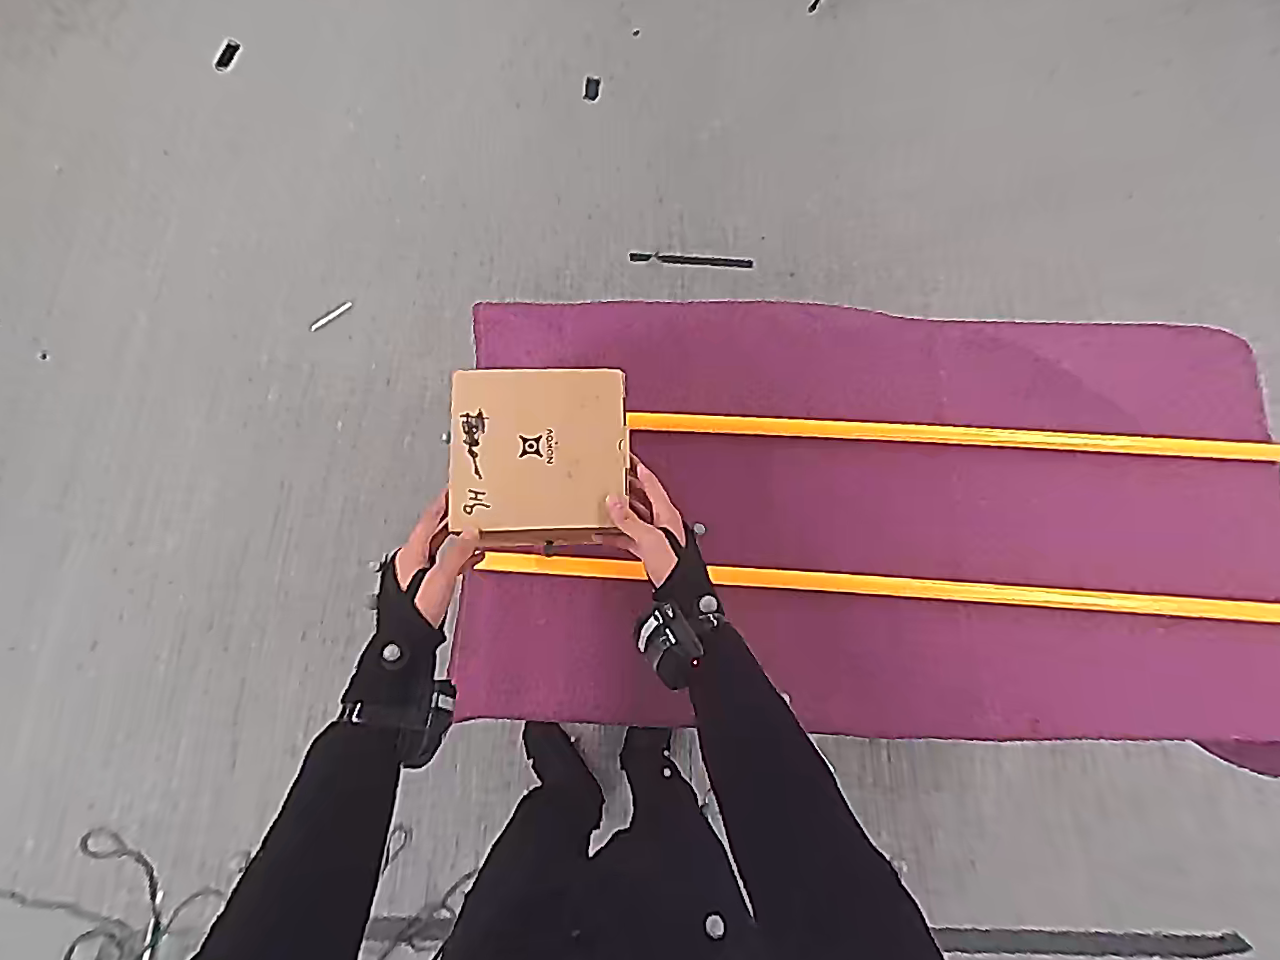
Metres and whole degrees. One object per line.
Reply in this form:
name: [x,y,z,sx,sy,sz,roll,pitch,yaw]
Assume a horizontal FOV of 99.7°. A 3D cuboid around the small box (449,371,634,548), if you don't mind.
small box: [-0.103,-0.012,0.606,0.179,0.176,0.168,0,79,-6]
